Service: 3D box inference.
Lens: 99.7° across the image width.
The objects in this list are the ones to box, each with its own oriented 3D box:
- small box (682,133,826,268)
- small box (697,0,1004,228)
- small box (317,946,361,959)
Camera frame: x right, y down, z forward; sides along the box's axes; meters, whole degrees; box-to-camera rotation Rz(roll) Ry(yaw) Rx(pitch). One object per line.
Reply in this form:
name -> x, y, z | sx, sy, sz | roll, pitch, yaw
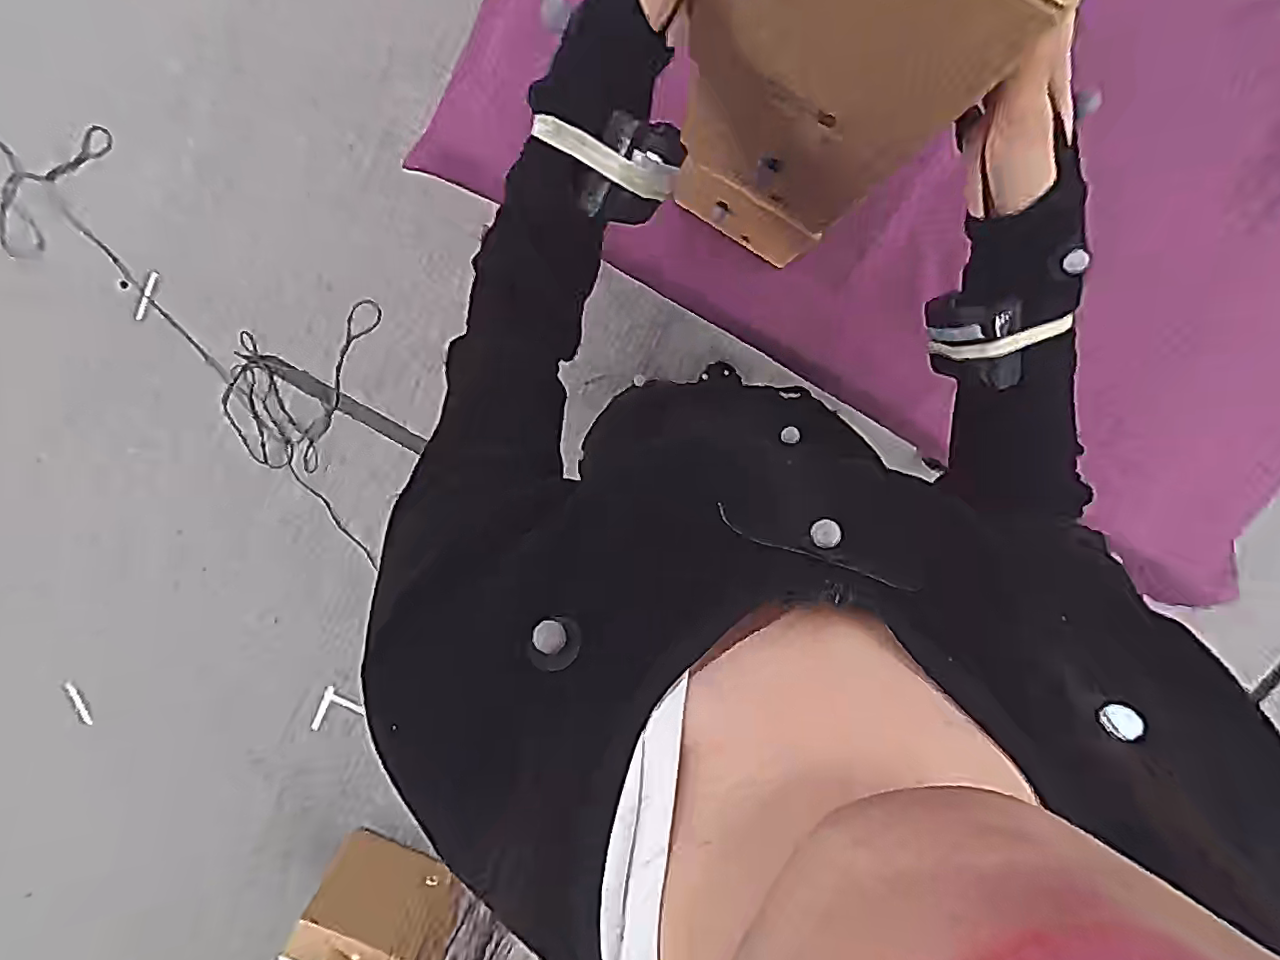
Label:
small box -> 0.160, -0.369, 0.614 | 0.168, 0.176, 0.179 | 31, 100, -5
small box -> 0.158, -0.344, 0.452 | 0.168, 0.176, 0.179 | 29, 100, -5
small box -> -0.847, 1.421, 1.450 | 0.168, 0.176, 0.179 | 27, 100, -4
